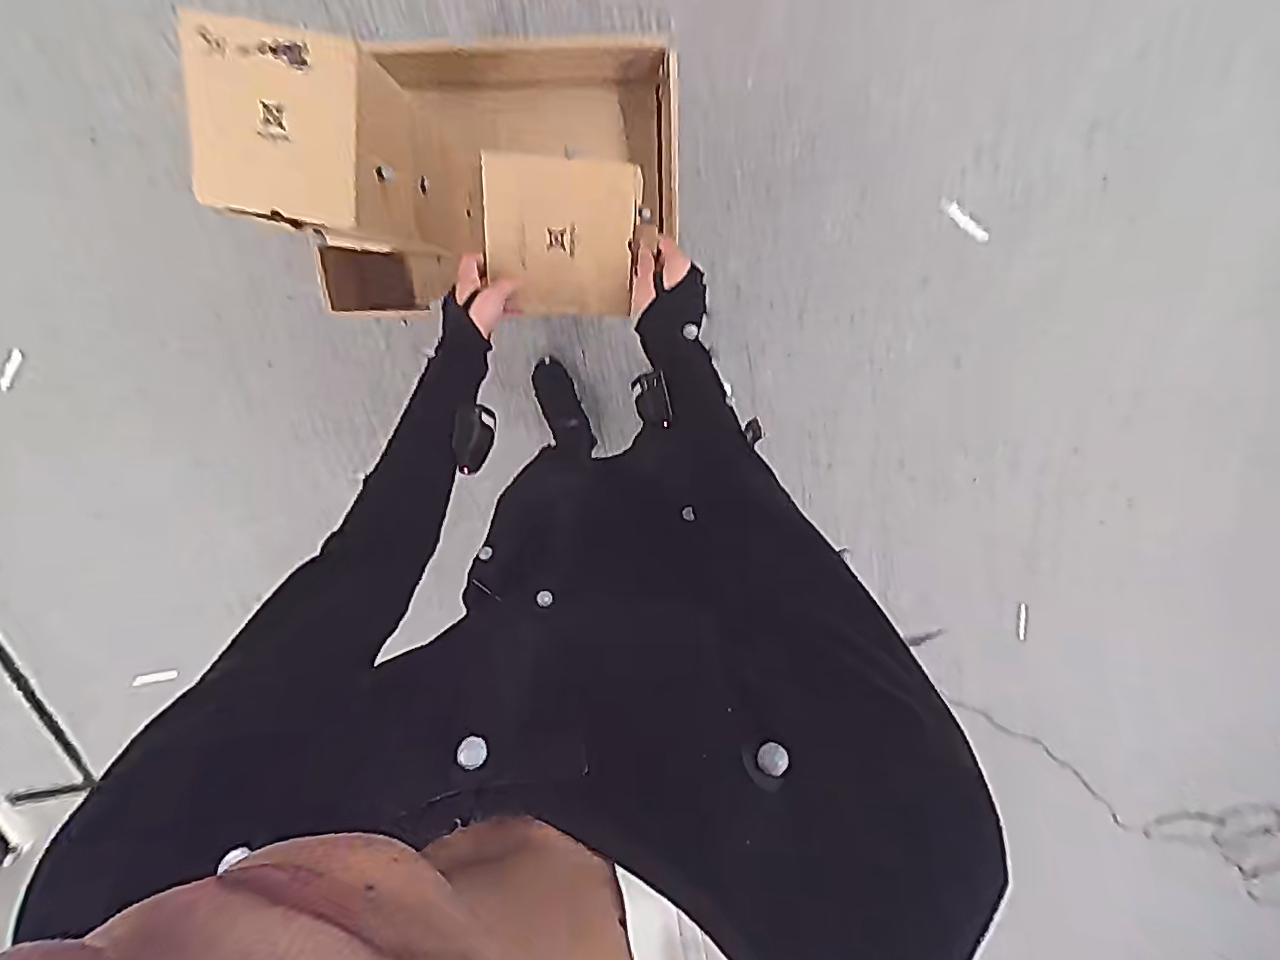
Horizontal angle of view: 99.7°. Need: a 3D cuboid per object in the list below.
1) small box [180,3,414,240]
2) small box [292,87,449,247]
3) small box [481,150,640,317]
[{"bbox_3d":[-0.373,-0.385,0.621,0.168,0.176,0.179,8,108,-5],"label":"small box"},{"bbox_3d":[-0.381,-0.442,0.776,0.168,0.176,0.179,5,107,-4],"label":"small box"},{"bbox_3d":[-0.093,-0.313,0.694,0.179,0.176,0.168,4,114,-1],"label":"small box"}]
